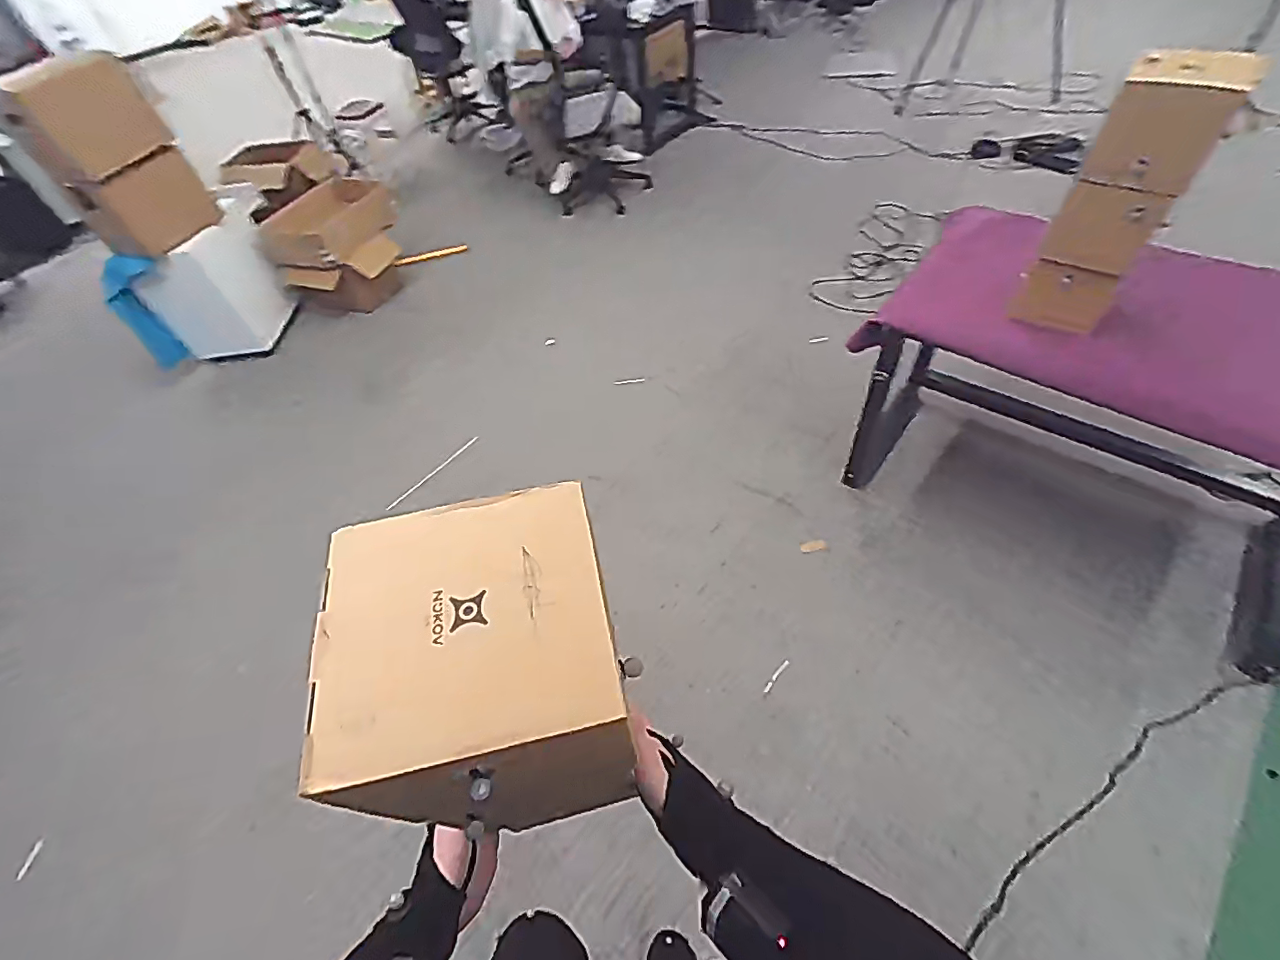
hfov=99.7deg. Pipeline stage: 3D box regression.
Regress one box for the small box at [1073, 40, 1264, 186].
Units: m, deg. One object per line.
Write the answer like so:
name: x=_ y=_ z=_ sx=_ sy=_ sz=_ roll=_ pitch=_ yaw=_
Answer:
small box: x=0.950 y=-0.664 z=0.985 sx=0.179 sy=0.176 sz=0.168 roll=30 pitch=62 yaw=27

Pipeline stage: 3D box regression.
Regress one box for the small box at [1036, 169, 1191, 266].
small box: x=0.972 y=-0.568 z=1.115 sx=0.179 sy=0.176 sz=0.168 roll=30 pitch=62 yaw=28

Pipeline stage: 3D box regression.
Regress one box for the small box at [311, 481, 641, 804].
small box: x=-0.102 y=0.128 z=0.406 sx=0.179 sy=0.176 sz=0.168 roll=-11 pitch=54 yaw=-4

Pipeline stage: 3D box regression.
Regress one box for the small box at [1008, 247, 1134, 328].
small box: x=1.001 y=-0.479 z=1.252 sx=0.179 sy=0.176 sz=0.168 roll=28 pitch=62 yaw=28

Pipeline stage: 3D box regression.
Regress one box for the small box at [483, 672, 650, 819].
small box: x=-0.091 y=0.307 z=0.679 sx=0.179 sy=0.176 sz=0.168 roll=-12 pitch=54 yaw=-6
